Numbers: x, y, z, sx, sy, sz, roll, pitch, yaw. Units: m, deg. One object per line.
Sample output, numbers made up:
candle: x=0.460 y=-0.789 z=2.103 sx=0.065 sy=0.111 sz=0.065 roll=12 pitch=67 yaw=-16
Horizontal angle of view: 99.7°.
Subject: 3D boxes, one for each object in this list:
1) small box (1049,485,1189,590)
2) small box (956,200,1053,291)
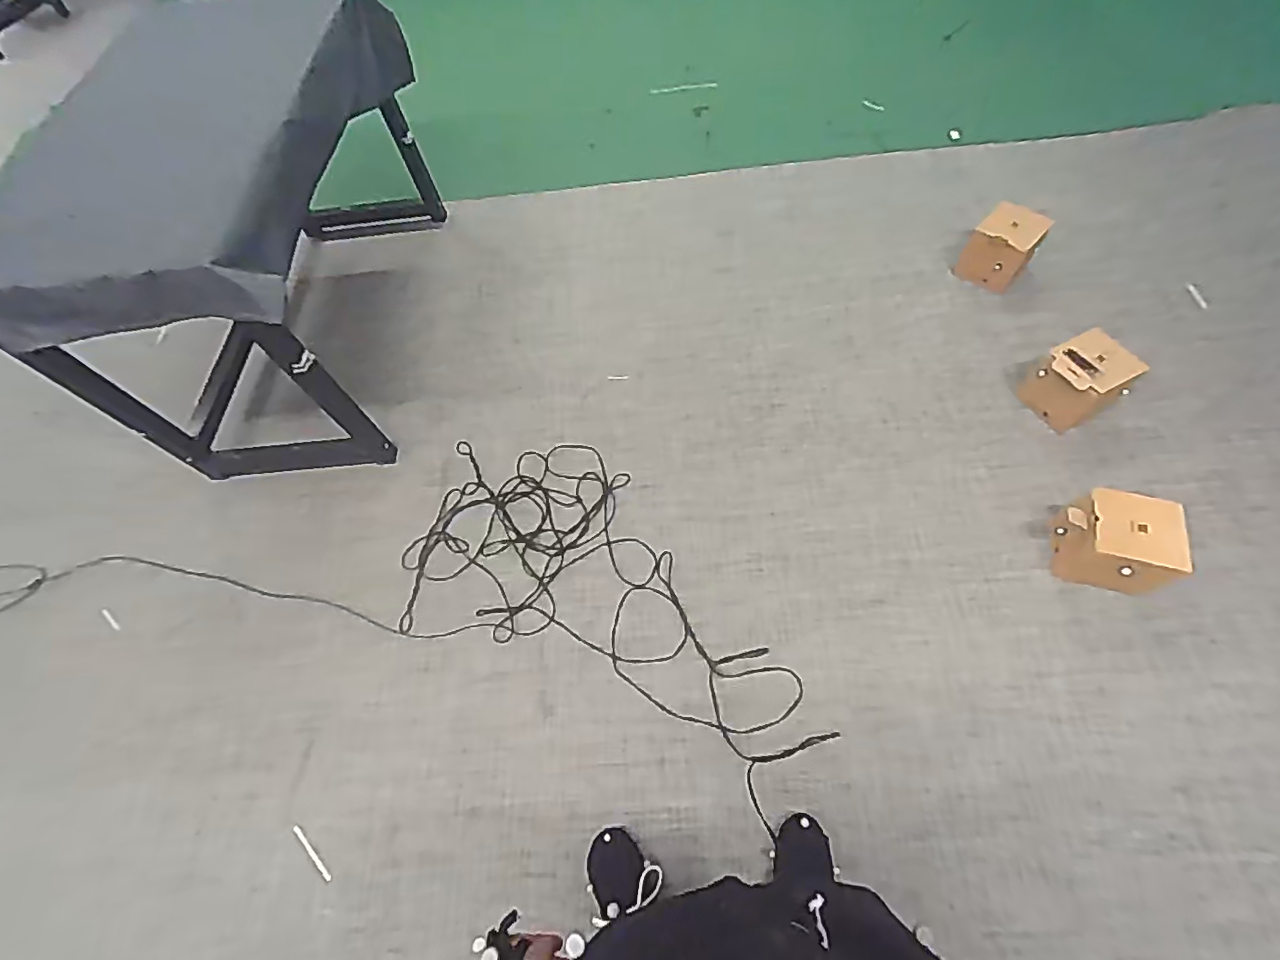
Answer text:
small box: x=1.075 y=0.137 z=1.227 sx=0.179 sy=0.176 sz=0.168 roll=14 pitch=64 yaw=13
small box: x=1.133 y=-0.731 z=1.697 sx=0.168 sy=0.176 sz=0.179 roll=40 pitch=71 yaw=22
